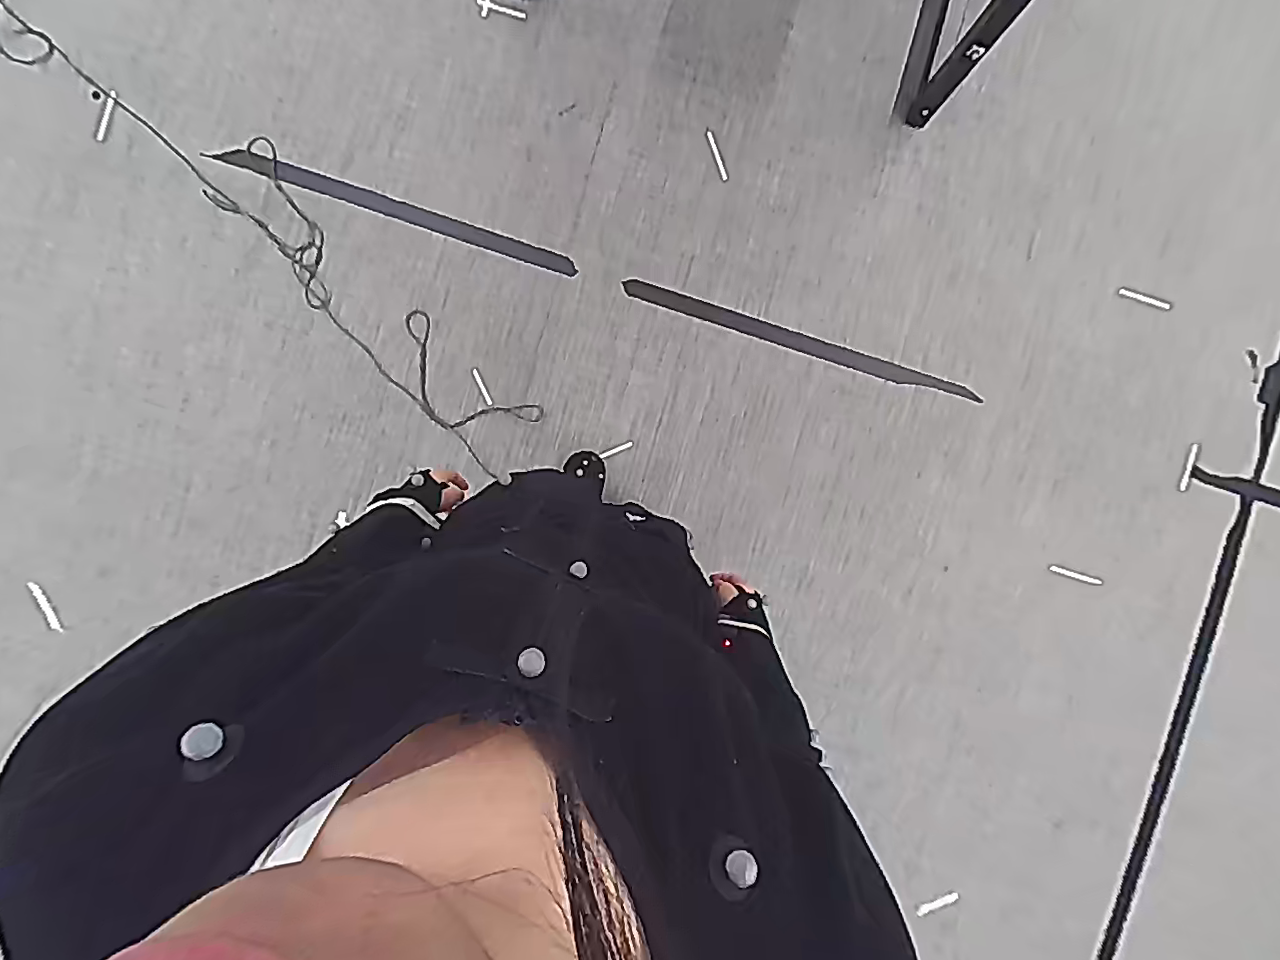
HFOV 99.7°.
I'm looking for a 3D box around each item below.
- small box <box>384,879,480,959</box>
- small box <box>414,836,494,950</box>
[{"bbox_3d":[-0.478,1.074,1.241,0.168,0.176,0.179,12,91,-3],"label":"small box"},{"bbox_3d":[-0.488,1.068,1.405,0.168,0.176,0.179,10,90,-2],"label":"small box"}]
